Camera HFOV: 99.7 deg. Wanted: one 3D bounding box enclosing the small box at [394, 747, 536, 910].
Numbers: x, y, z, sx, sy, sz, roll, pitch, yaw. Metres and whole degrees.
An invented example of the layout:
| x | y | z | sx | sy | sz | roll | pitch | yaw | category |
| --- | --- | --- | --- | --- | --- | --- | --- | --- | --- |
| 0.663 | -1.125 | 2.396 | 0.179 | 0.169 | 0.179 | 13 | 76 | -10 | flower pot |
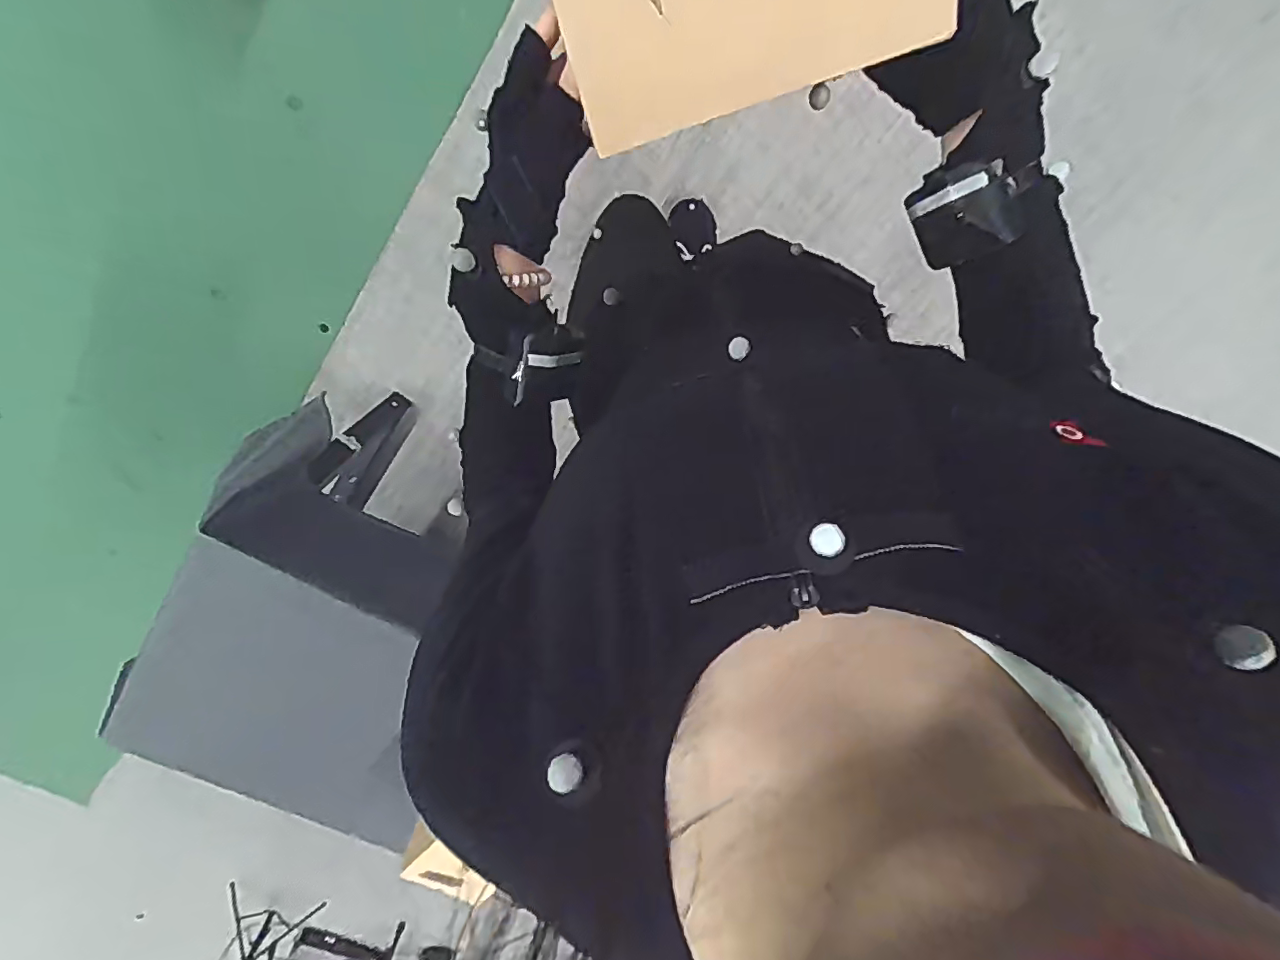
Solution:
| x | y | z | sx | sy | sz | roll | pitch | yaw | category |
| --- | --- | --- | --- | --- | --- | --- | --- | --- | --- |
| -0.310 | 0.638 | 0.999 | 0.168 | 0.176 | 0.179 | 36 | 111 | -17 | small box |
